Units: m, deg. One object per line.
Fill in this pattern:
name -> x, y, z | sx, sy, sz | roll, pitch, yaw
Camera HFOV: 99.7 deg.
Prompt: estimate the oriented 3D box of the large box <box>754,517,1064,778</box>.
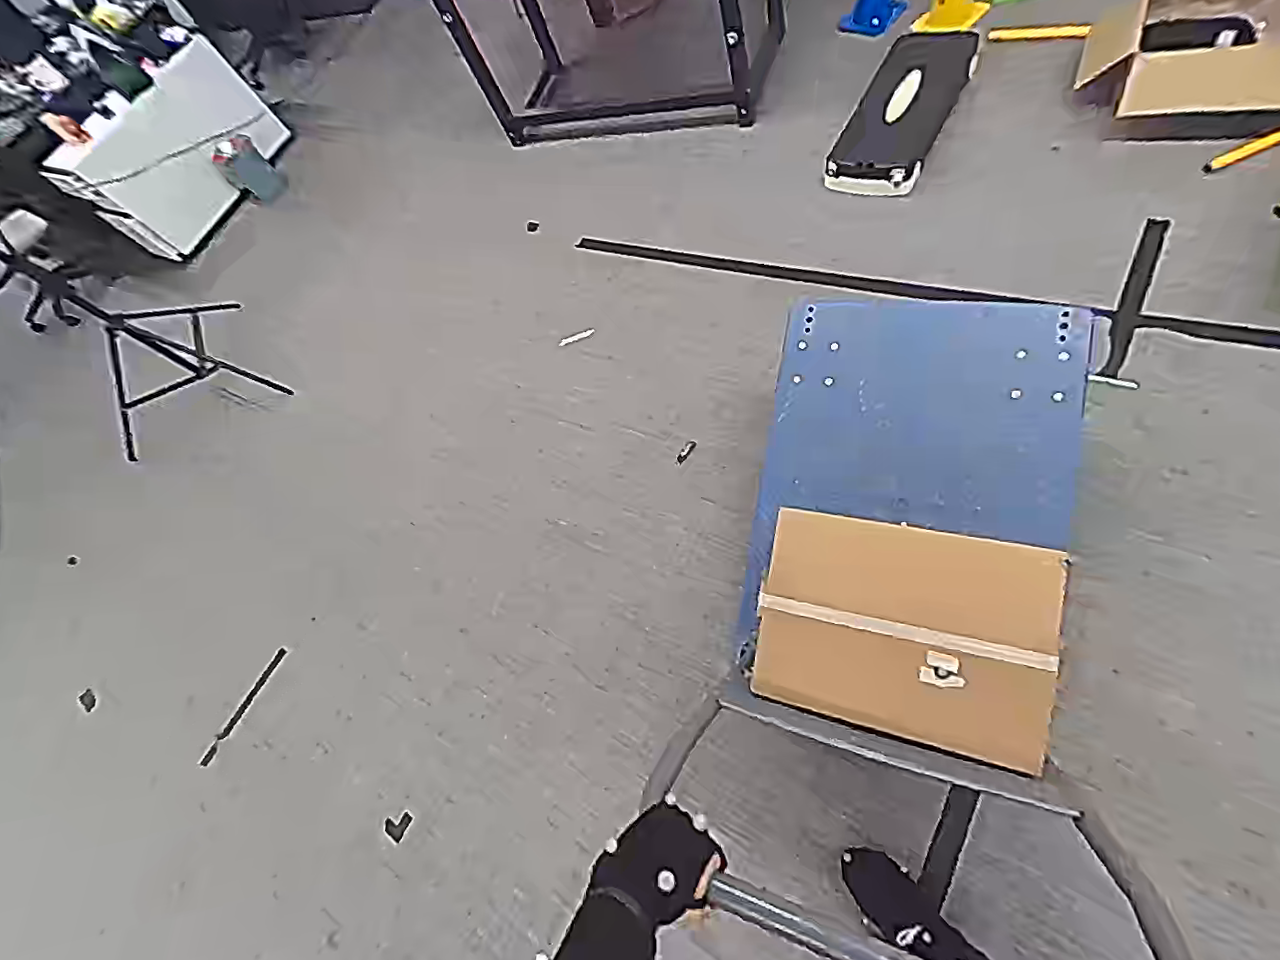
large box -> 0.445, 0.258, 0.966 | 0.408, 0.320, 0.320 | 9, 86, 22
